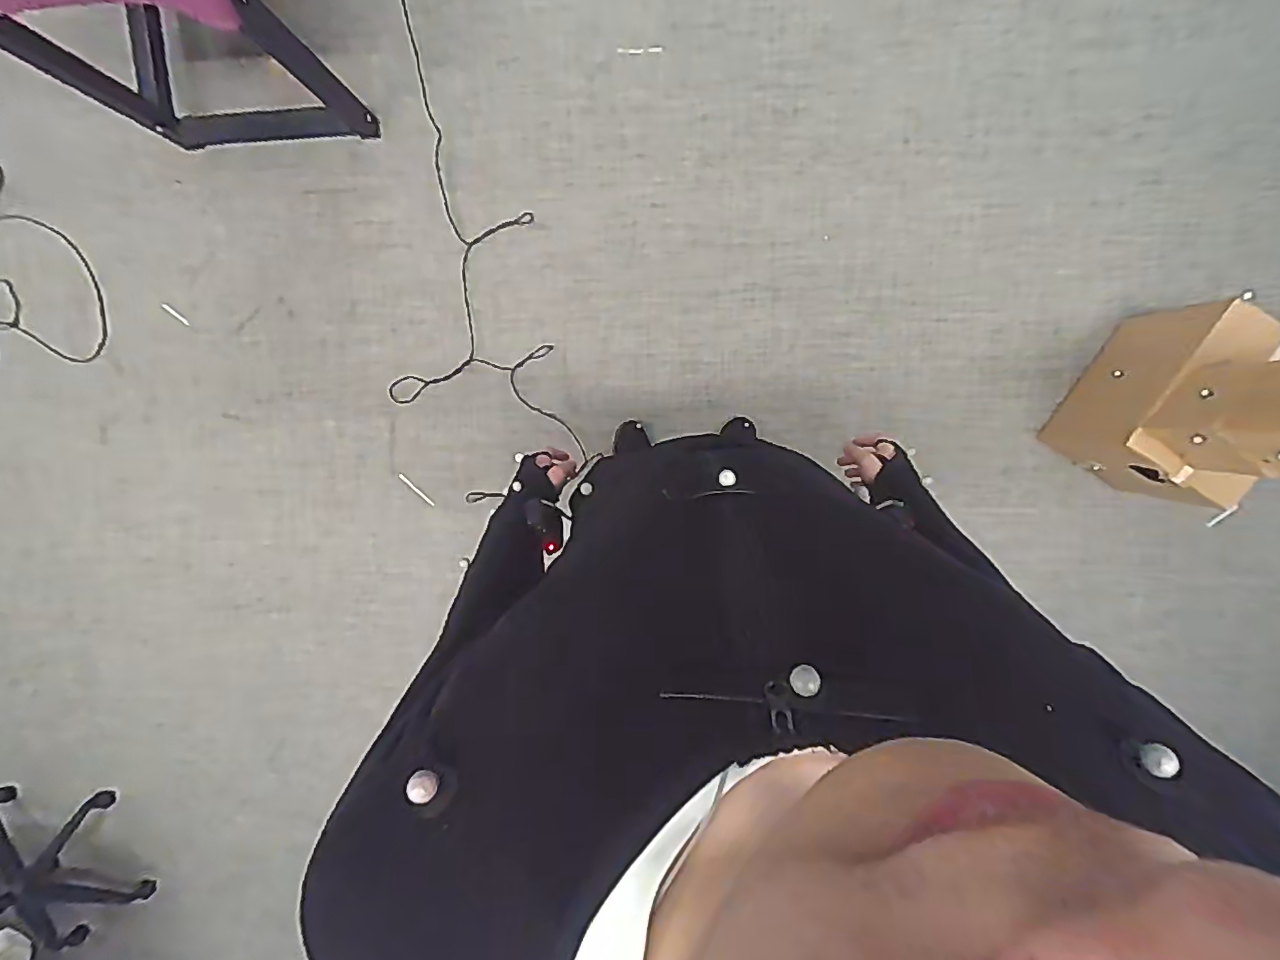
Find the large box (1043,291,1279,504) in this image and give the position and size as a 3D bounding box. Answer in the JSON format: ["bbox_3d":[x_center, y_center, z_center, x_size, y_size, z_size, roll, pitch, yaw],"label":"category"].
[{"bbox_3d":[1.380,-0.203,1.399,0.320,0.320,0.408,31,98,-3],"label":"large box"}]
